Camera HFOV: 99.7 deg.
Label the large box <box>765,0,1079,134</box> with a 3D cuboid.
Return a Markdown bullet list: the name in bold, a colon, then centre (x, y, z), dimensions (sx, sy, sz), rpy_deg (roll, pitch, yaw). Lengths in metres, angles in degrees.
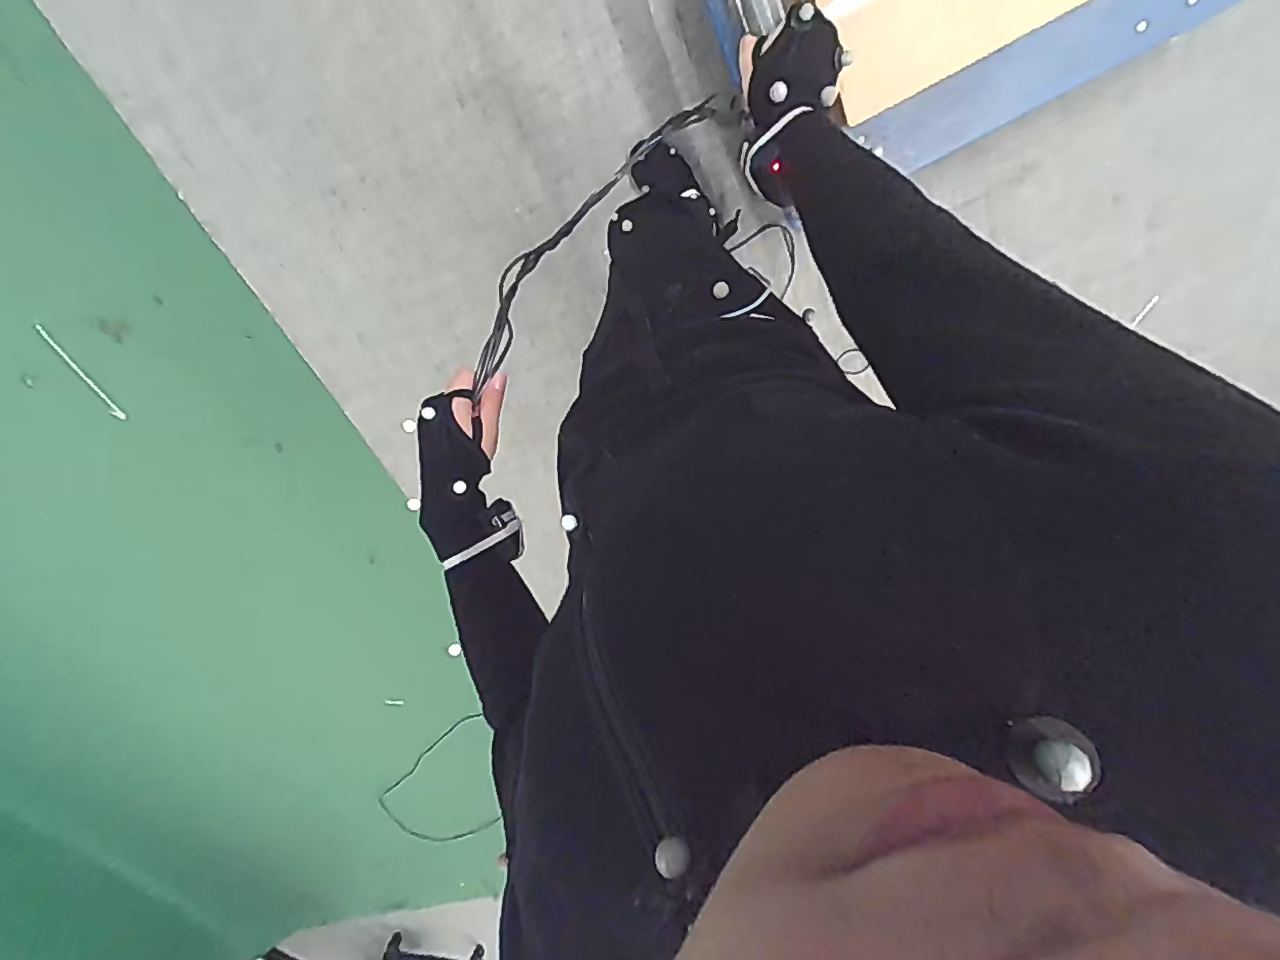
- **large box**: centre (0.444, -0.836, 0.884), dimensions (0.408, 0.320, 0.320), rpy_deg (-22, 118, 16)
